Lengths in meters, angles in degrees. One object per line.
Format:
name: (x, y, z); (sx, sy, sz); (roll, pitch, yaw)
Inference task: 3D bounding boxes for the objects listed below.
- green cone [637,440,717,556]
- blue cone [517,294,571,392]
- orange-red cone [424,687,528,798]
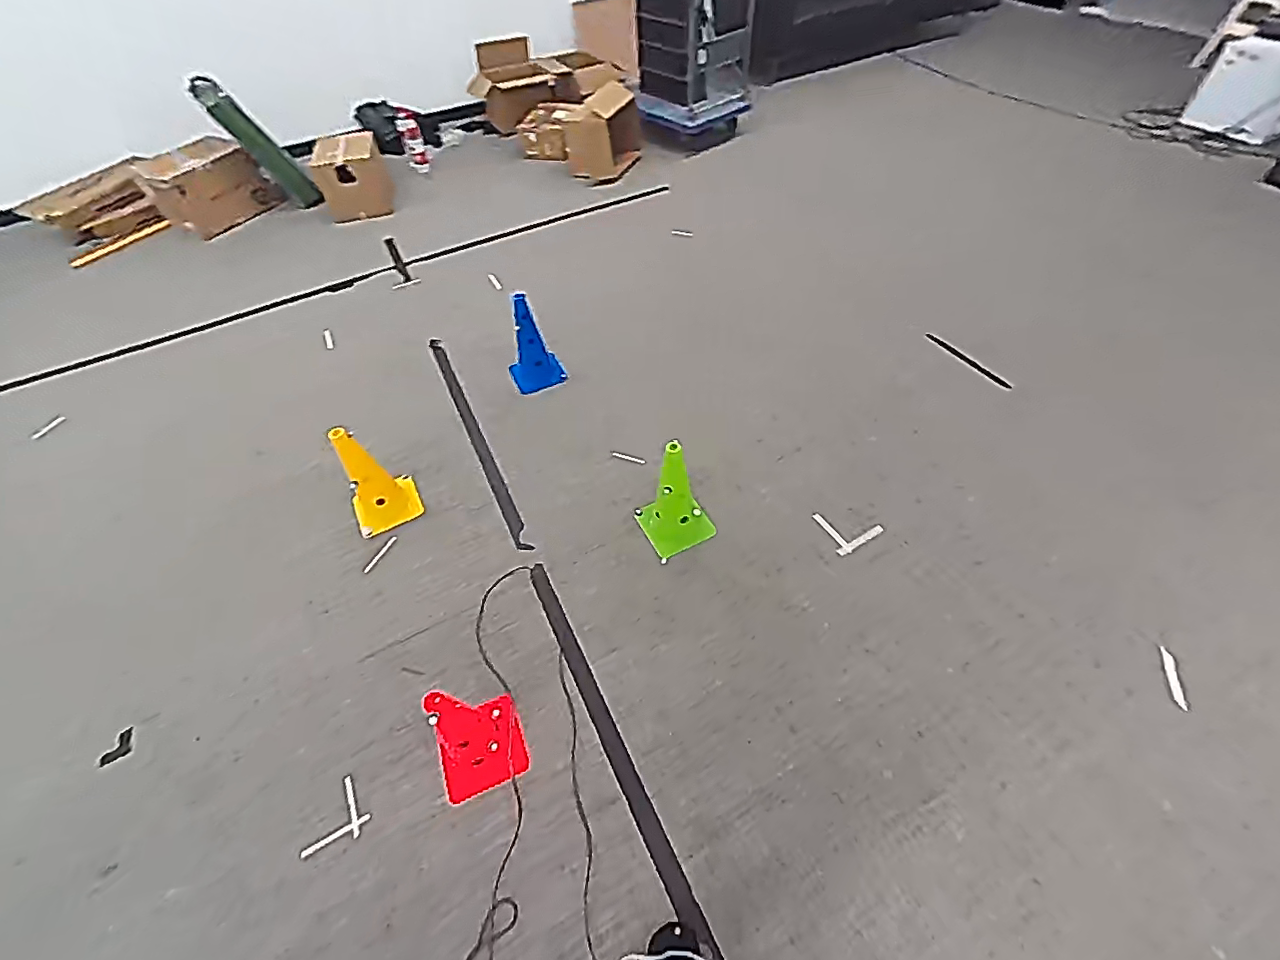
green cone: (0.109, 0.025, 1.574); (0.202, 0.368, 0.200); (-22, 53, -15)
blue cone: (-0.403, -0.540, 2.087); (0.192, 0.380, 0.193); (-20, 53, -13)
orange-red cone: (-0.397, 0.539, 1.195); (0.199, 0.360, 0.198); (-20, 51, -11)
